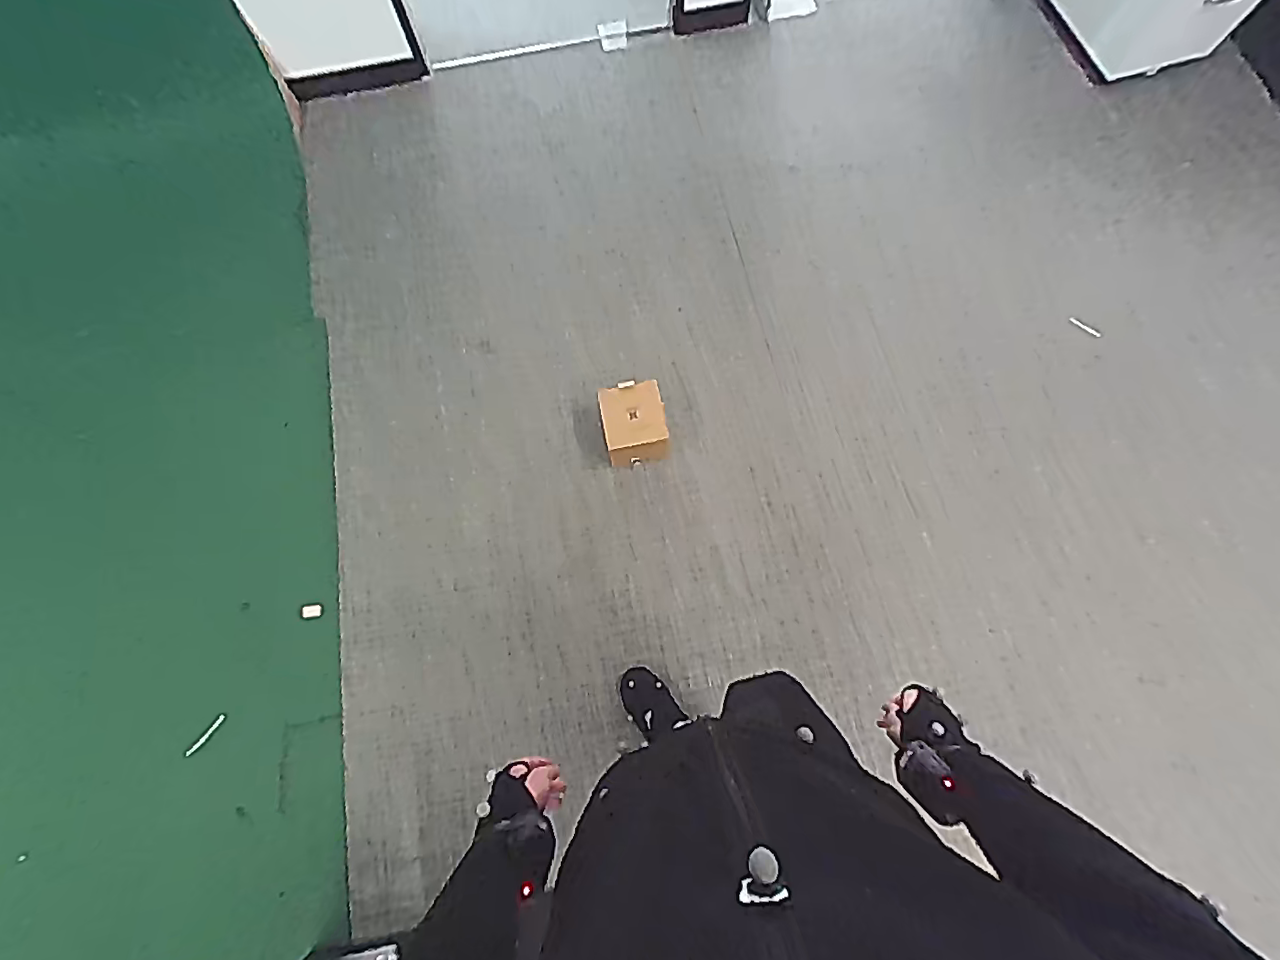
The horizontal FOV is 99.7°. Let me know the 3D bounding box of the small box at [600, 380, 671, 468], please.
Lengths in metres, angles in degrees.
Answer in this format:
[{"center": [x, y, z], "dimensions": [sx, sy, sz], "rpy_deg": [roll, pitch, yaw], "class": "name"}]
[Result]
[{"center": [-0.011, -0.149, 1.482], "dimensions": [0.168, 0.176, 0.179], "rpy_deg": [-10, 74, 0], "class": "small box"}]
